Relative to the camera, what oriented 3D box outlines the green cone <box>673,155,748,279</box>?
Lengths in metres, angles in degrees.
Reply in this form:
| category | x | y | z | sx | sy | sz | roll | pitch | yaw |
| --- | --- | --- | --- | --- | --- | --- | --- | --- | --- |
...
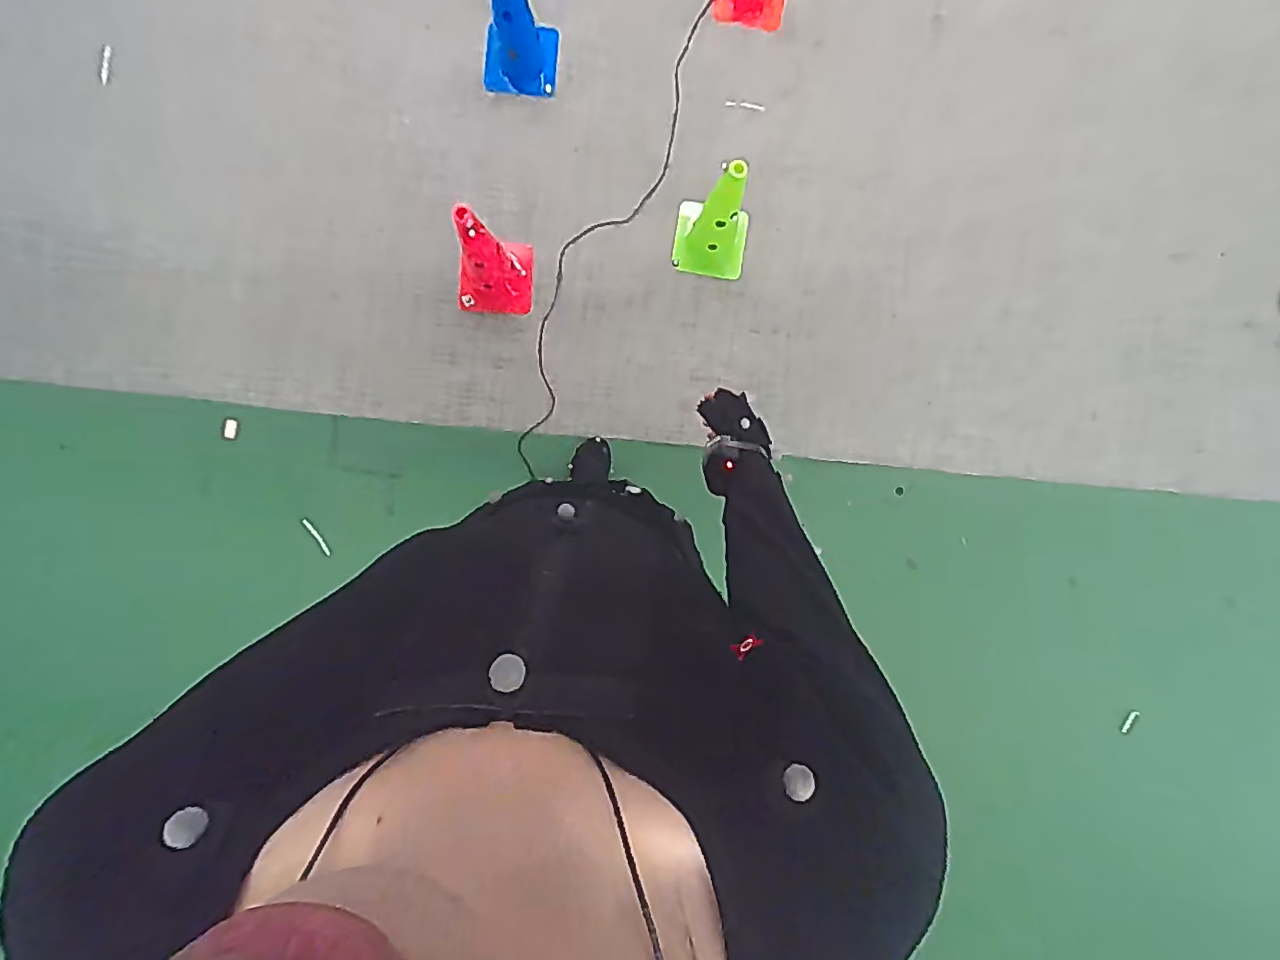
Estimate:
| category | x | y | z | sx | sy | sz | roll | pitch | yaw |
| --- | --- | --- | --- | --- | --- | --- | --- | --- | --- |
| green cone | 0.210 | -0.682 | 1.360 | 0.200 | 0.368 | 0.202 | 8 | 88 | -3 |

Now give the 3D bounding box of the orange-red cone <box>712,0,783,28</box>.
| category | x | y | z | sx | sy | sz | roll | pitch | yaw |
| --- | --- | --- | --- | --- | --- | --- | --- | --- | --- |
| orange-red cone | 0.320 | -1.405 | 1.379 | 0.198 | 0.360 | 0.199 | 10 | 90 | -2 |
